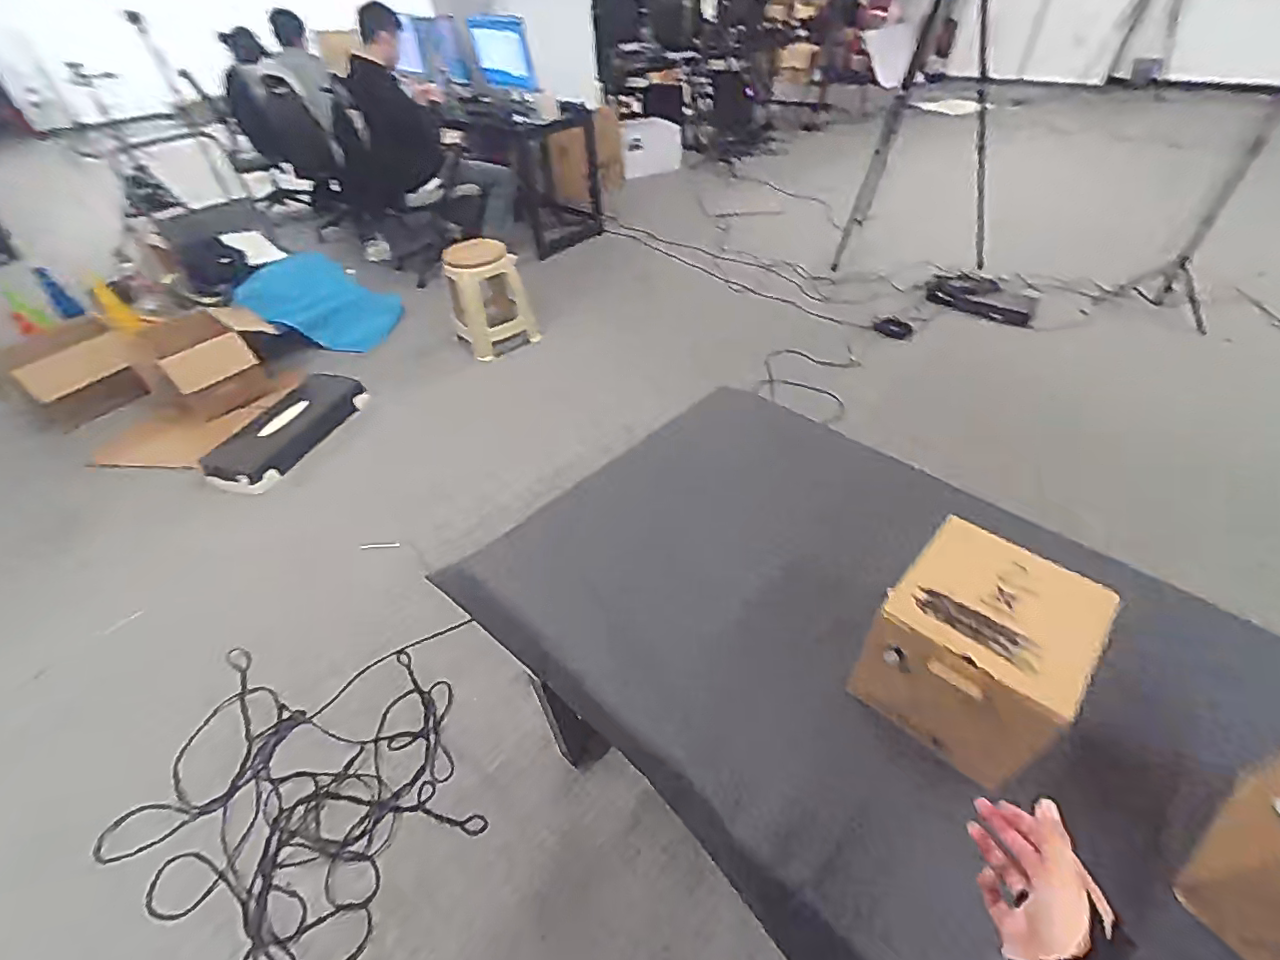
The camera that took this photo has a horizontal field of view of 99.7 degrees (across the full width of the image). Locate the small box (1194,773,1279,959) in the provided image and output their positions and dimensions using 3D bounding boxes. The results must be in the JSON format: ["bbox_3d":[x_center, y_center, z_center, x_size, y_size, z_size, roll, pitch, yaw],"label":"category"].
[{"bbox_3d":[0.598,0.329,0.414,0.179,0.176,0.168,-28,48,-22],"label":"small box"}]
